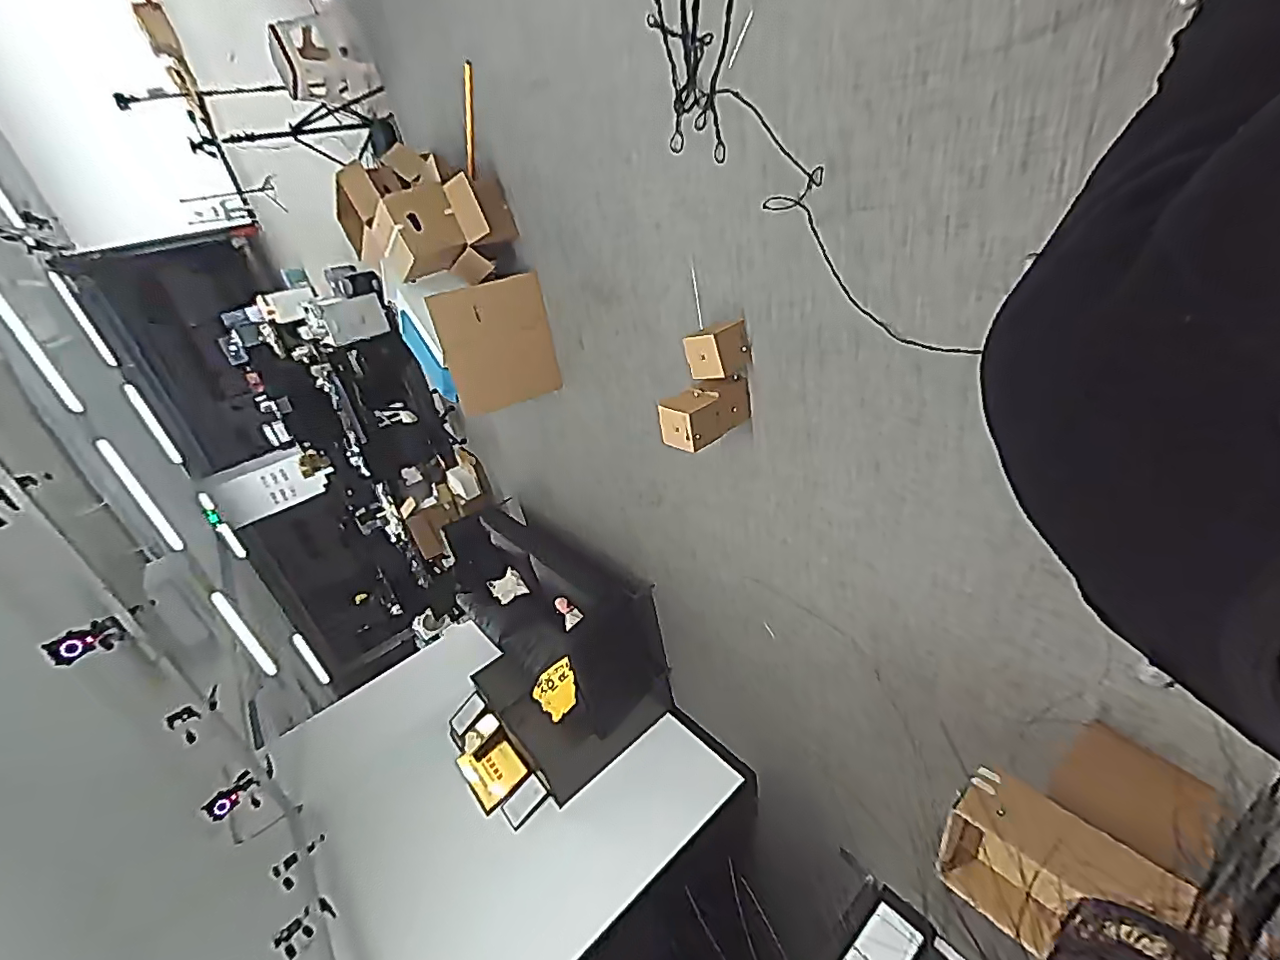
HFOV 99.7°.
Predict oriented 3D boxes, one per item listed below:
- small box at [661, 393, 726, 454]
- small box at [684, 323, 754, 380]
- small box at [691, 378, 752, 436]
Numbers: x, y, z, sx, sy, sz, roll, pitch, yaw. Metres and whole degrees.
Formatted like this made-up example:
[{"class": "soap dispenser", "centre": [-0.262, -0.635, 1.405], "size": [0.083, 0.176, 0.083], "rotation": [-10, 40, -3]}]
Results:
[{"class": "small box", "centre": [0.207, -0.223, 2.084], "size": [0.179, 0.176, 0.168], "rotation": [26, 137, 47]}, {"class": "small box", "centre": [0.301, -0.484, 2.042], "size": [0.179, 0.176, 0.168], "rotation": [11, 126, 53]}, {"class": "small box", "centre": [0.329, -0.301, 2.161], "size": [0.168, 0.176, 0.179], "rotation": [24, 136, 47]}]
